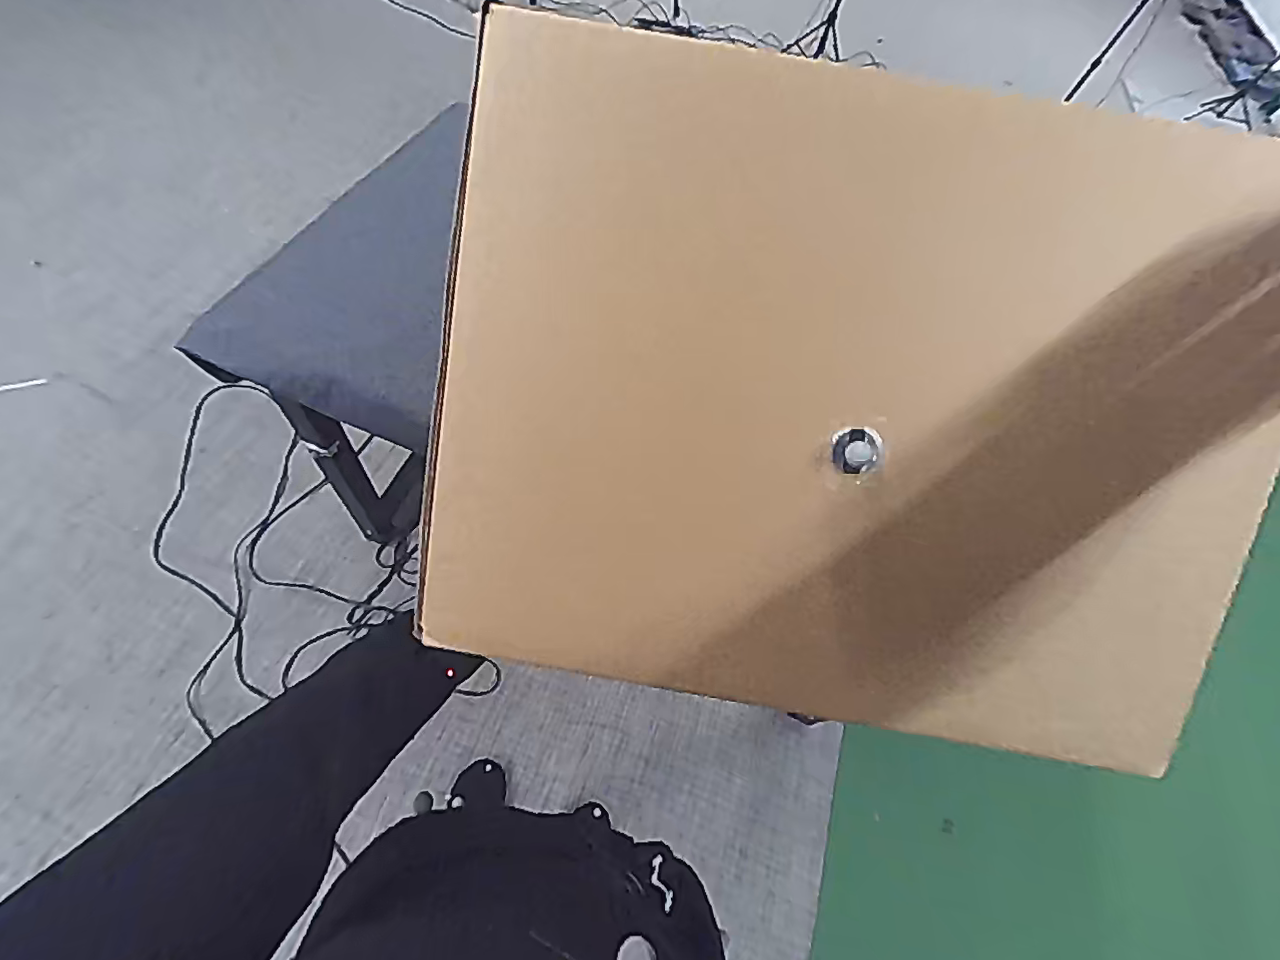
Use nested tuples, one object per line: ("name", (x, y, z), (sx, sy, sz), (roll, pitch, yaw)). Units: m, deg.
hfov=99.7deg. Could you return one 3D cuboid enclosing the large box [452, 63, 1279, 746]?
("large box", (0.111, -0.043, 0.423), (0.408, 0.320, 0.320), (8, 100, 0))
